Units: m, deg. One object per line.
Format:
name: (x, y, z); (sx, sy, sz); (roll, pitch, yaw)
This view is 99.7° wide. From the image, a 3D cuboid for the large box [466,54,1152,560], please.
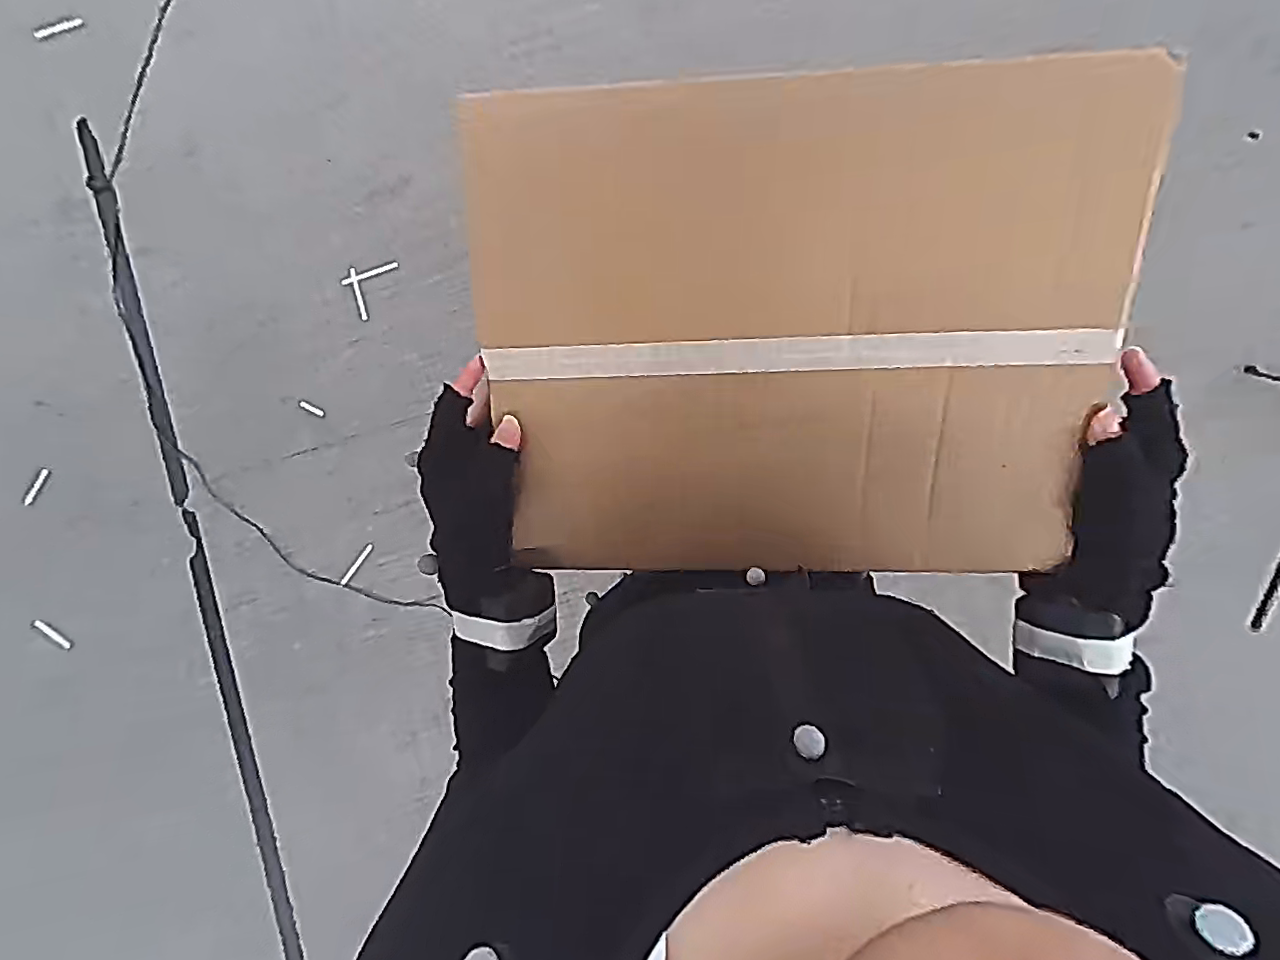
large box: (0.104, -0.134, 0.503); (0.408, 0.320, 0.320); (-1, 109, 4)
